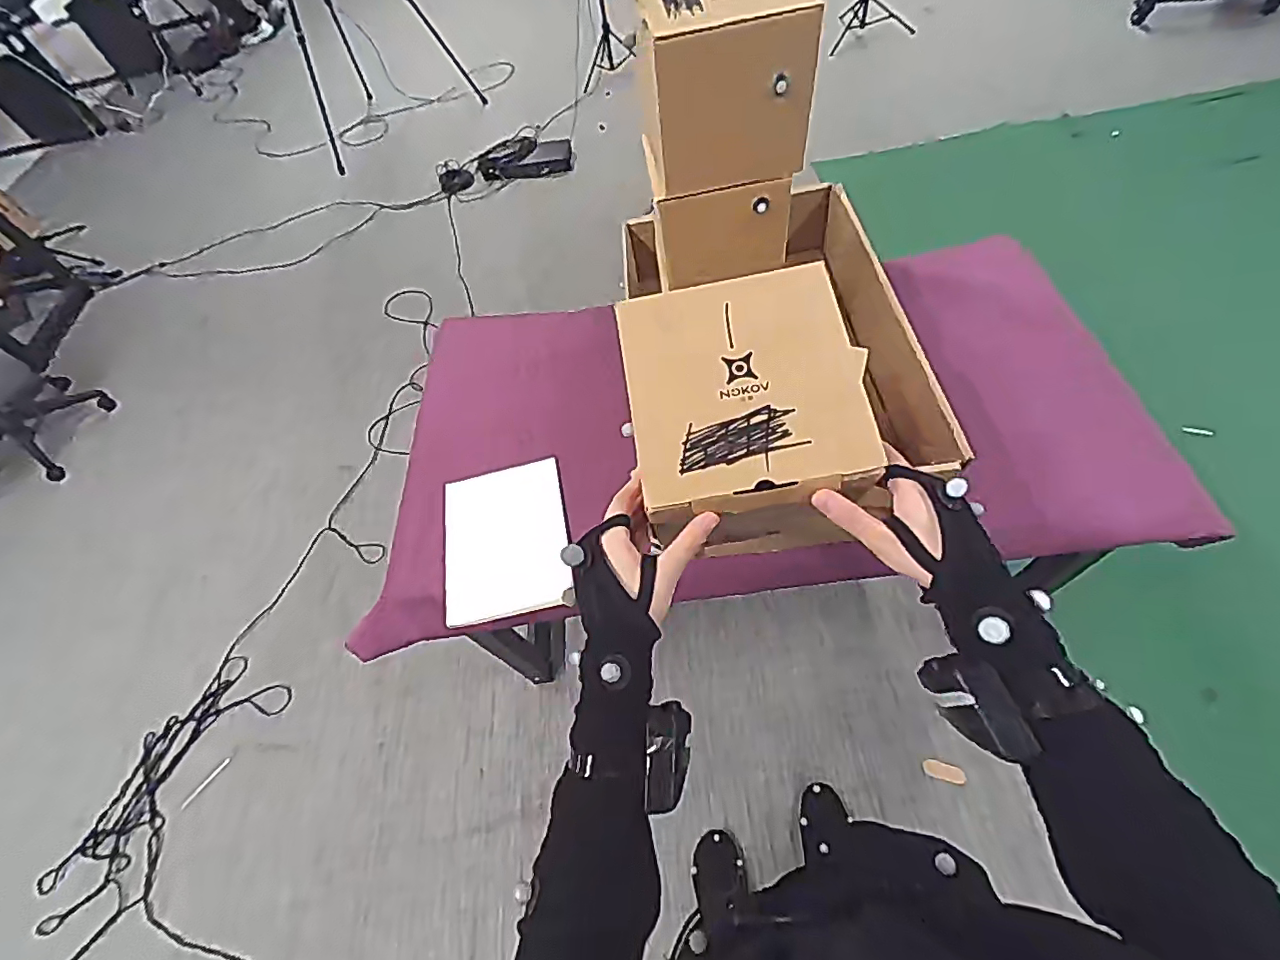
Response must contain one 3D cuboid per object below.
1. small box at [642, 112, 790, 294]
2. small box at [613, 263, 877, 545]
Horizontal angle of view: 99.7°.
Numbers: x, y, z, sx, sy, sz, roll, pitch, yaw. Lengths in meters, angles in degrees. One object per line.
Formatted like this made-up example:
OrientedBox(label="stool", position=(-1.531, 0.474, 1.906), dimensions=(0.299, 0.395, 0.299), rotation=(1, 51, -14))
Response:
OrientedBox(label="small box", position=(0.107, -0.388, 0.783), dimensions=(0.179, 0.176, 0.168), rotation=(-10, 58, 4))
OrientedBox(label="small box", position=(0.080, -0.047, 0.468), dimensions=(0.168, 0.176, 0.179), rotation=(-10, 70, 5))
